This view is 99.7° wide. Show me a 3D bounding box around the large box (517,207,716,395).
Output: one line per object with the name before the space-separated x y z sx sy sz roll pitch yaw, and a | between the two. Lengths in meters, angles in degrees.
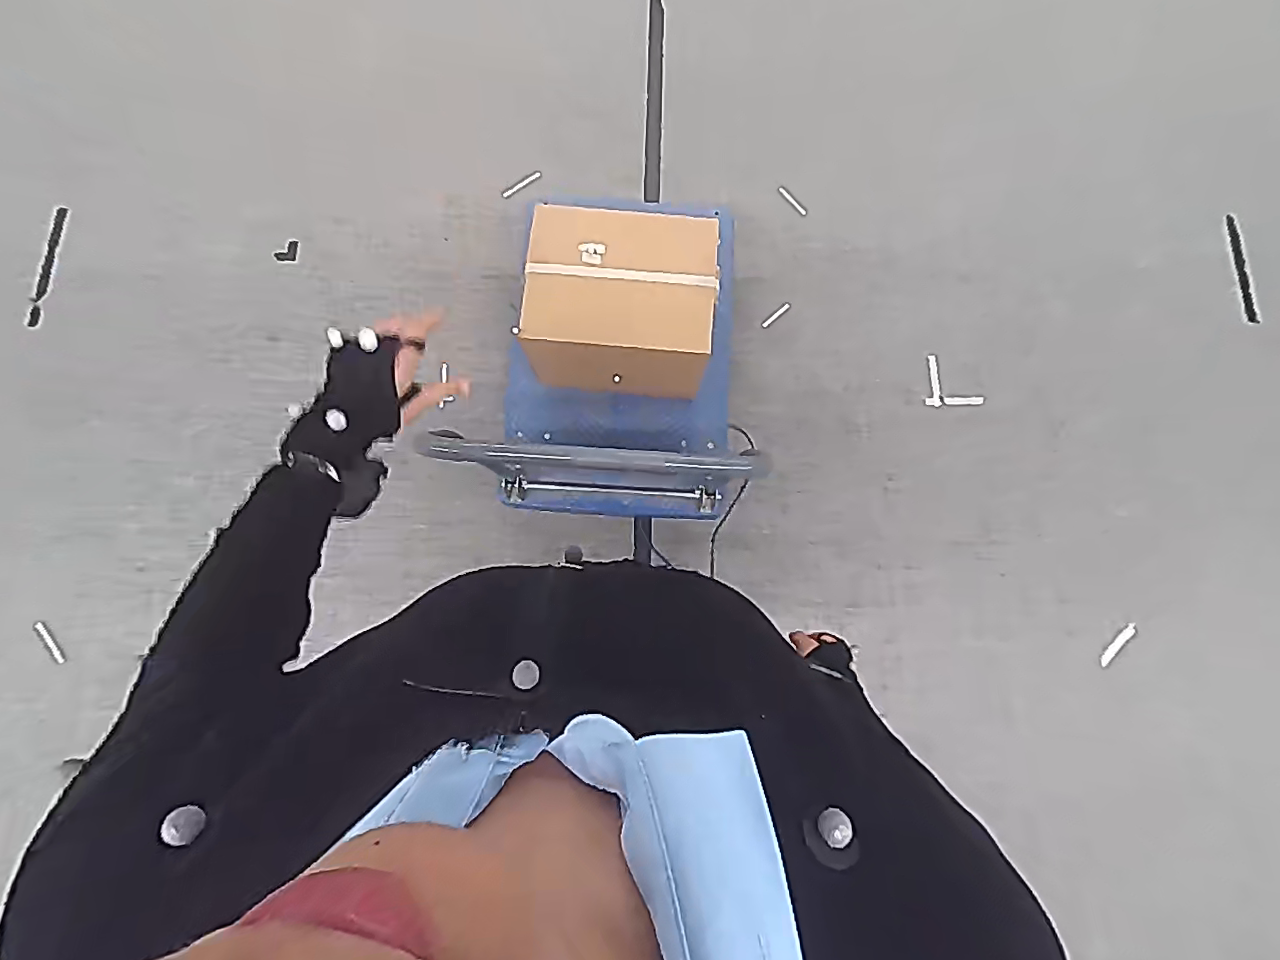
large box | -0.041 -0.401 1.279 0.408 0.320 0.320 5 79 2
